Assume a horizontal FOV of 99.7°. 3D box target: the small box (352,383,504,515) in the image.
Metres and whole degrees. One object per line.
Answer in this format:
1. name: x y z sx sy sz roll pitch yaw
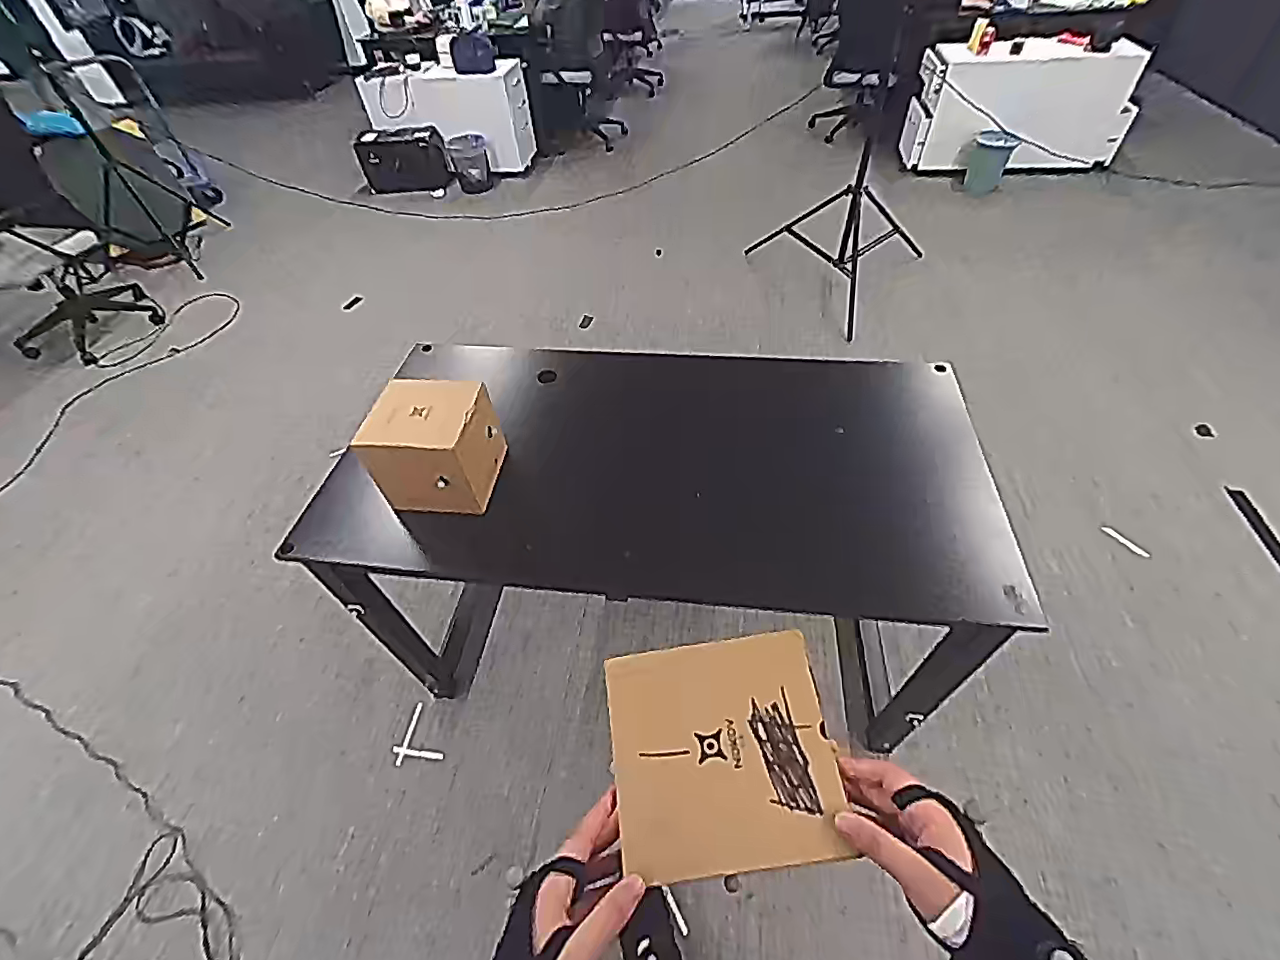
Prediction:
1. small box: -0.356 -0.052 0.954 0.179 0.176 0.168 1 48 7

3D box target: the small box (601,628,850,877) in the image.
1. small box: 0.066 0.252 0.502 0.179 0.176 0.168 -9 57 1
